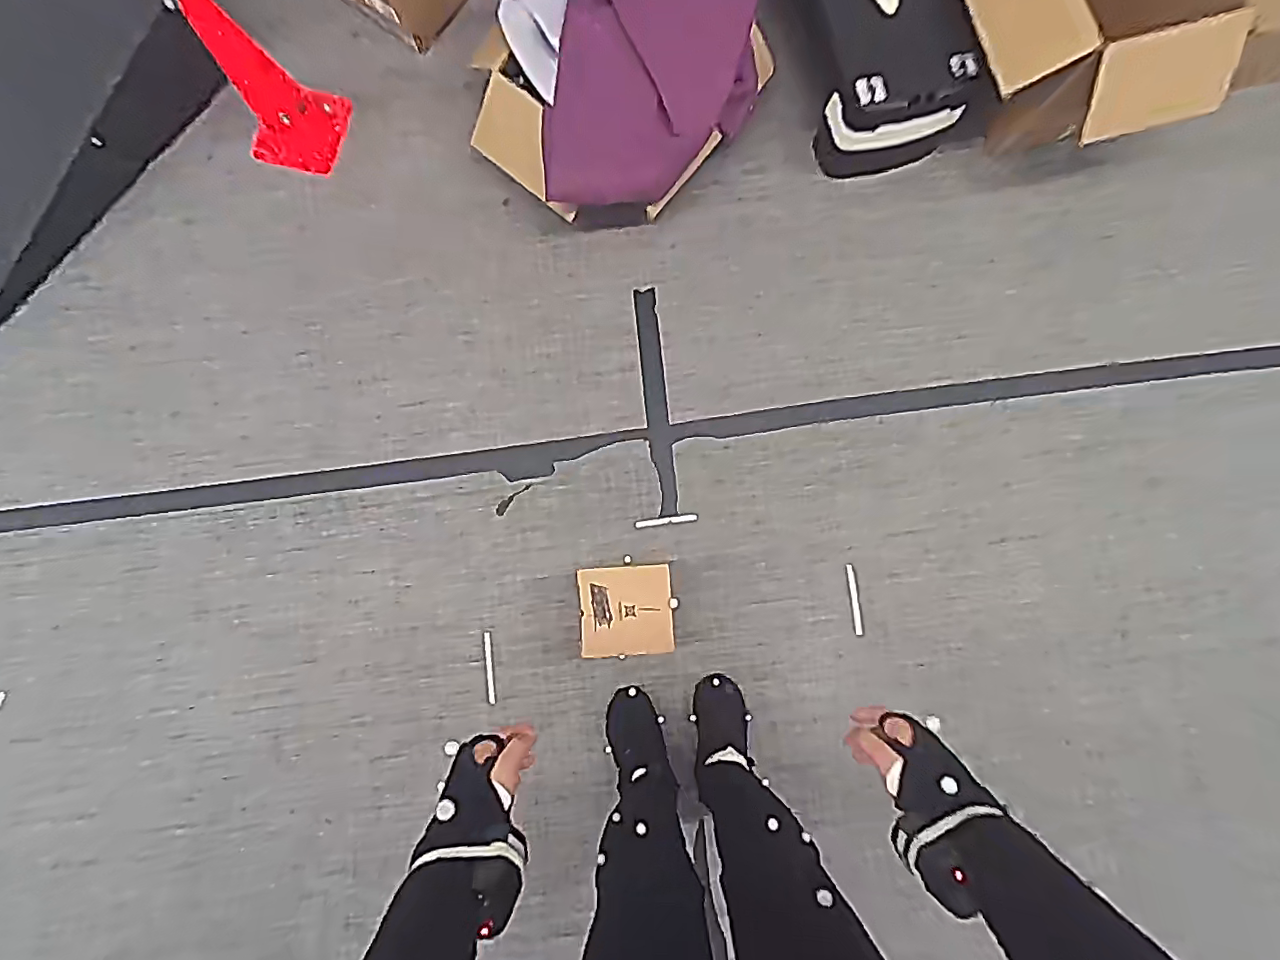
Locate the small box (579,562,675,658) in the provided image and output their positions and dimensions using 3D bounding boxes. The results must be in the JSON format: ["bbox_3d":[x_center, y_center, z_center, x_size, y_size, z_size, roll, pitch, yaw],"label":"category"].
[{"bbox_3d":[-0.024,0.254,1.085,0.179,0.176,0.168,-3,85,-1],"label":"small box"}]
